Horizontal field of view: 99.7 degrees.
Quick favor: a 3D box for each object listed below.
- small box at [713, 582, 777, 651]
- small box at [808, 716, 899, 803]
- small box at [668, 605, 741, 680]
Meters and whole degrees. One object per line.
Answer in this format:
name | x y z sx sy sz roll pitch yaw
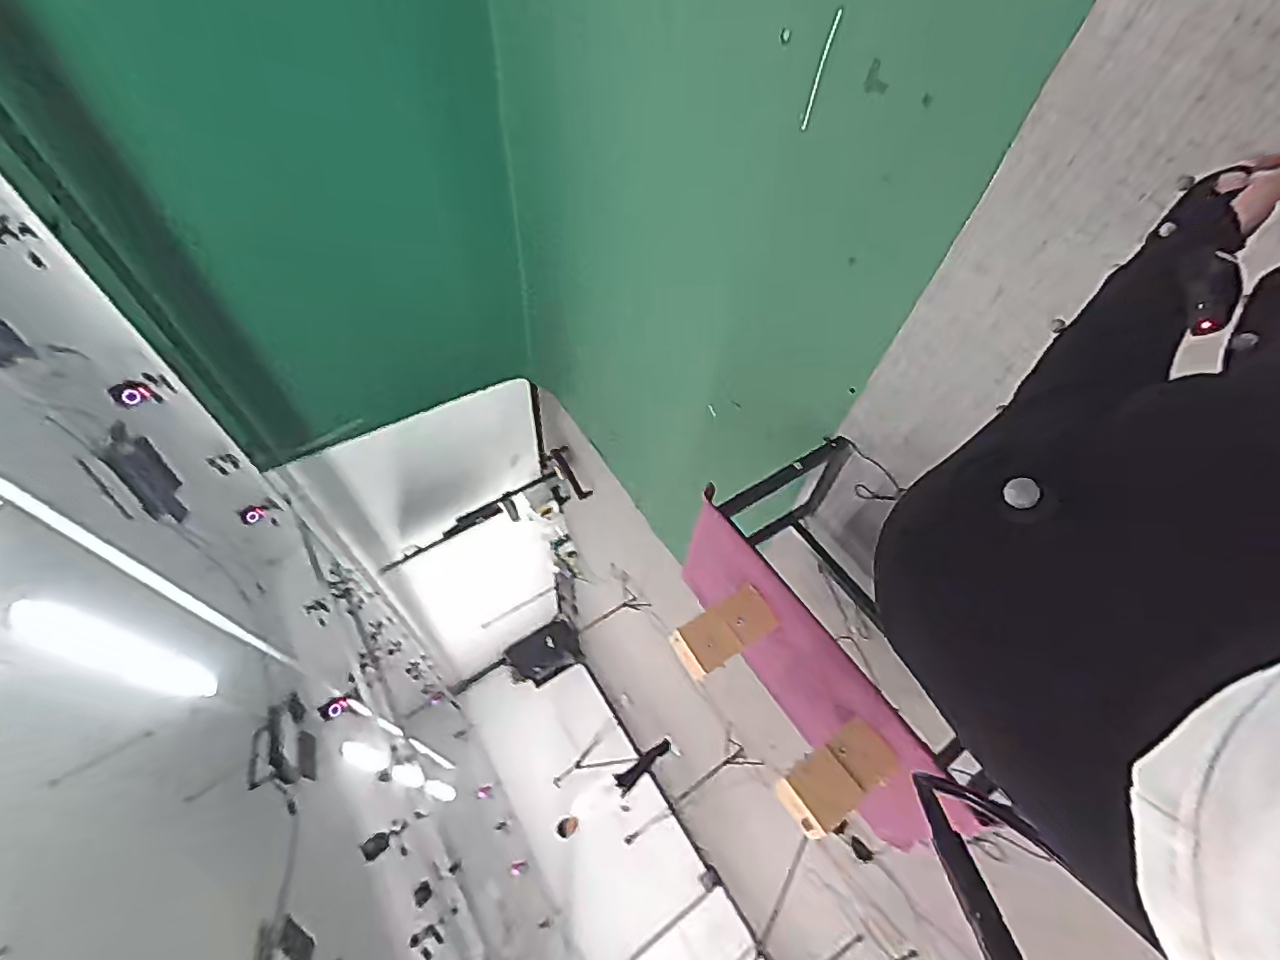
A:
small box | 0.360 0.496 1.949 0.179 0.176 0.168 56 157 16
small box | 0.667 0.869 1.696 0.179 0.176 0.168 48 155 30
small box | 0.226 0.566 1.887 0.179 0.176 0.168 53 156 19
